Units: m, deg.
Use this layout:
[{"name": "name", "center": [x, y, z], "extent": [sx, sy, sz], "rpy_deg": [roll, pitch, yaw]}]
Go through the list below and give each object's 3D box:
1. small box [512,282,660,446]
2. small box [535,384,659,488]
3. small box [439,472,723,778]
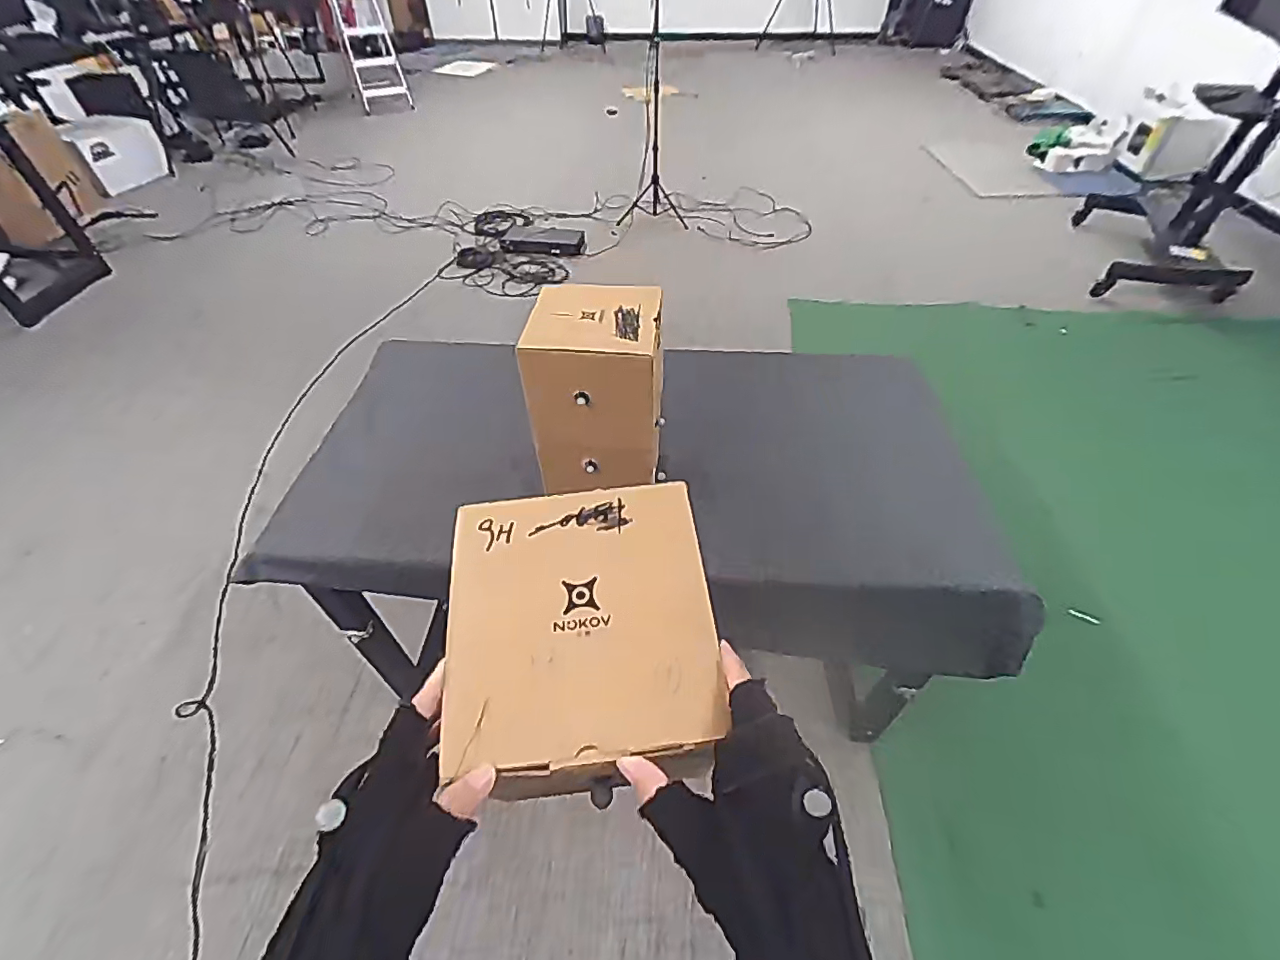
[{"name": "small box", "center": [-0.064, -0.164, 0.778], "extent": [0.179, 0.176, 0.168], "rpy_deg": [3, 48, 6]}, {"name": "small box", "center": [-0.061, -0.057, 0.903], "extent": [0.179, 0.176, 0.168], "rpy_deg": [3, 49, 4]}, {"name": "small box", "center": [-0.039, 0.119, 0.412], "extent": [0.168, 0.176, 0.179], "rpy_deg": [-8, 58, -3]}]
